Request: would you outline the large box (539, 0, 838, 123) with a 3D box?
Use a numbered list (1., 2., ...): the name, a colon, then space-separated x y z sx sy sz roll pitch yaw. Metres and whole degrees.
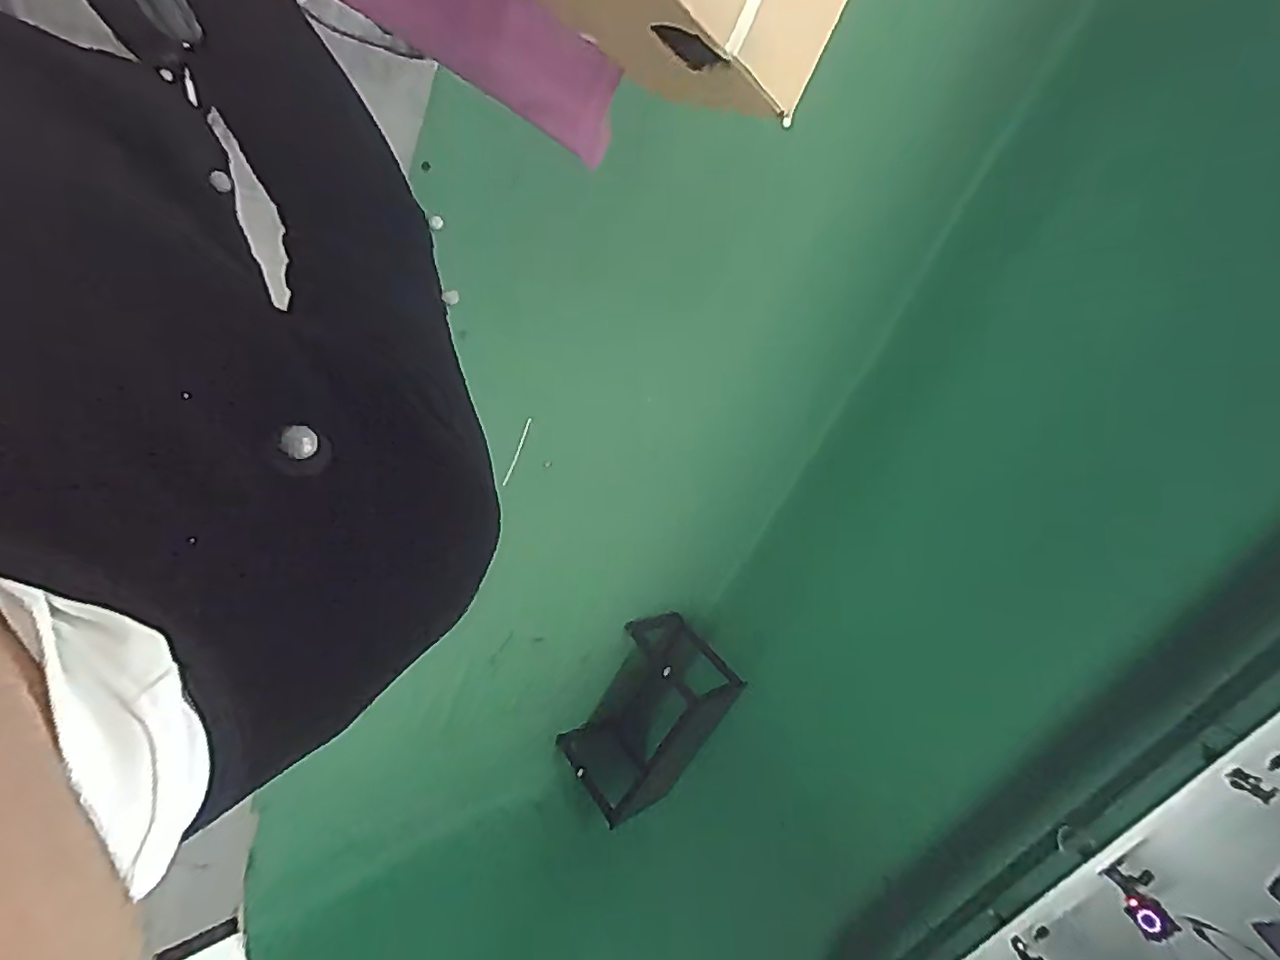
1. large box: 0.083 -0.743 0.647 0.320 0.320 0.408 3 122 -47
